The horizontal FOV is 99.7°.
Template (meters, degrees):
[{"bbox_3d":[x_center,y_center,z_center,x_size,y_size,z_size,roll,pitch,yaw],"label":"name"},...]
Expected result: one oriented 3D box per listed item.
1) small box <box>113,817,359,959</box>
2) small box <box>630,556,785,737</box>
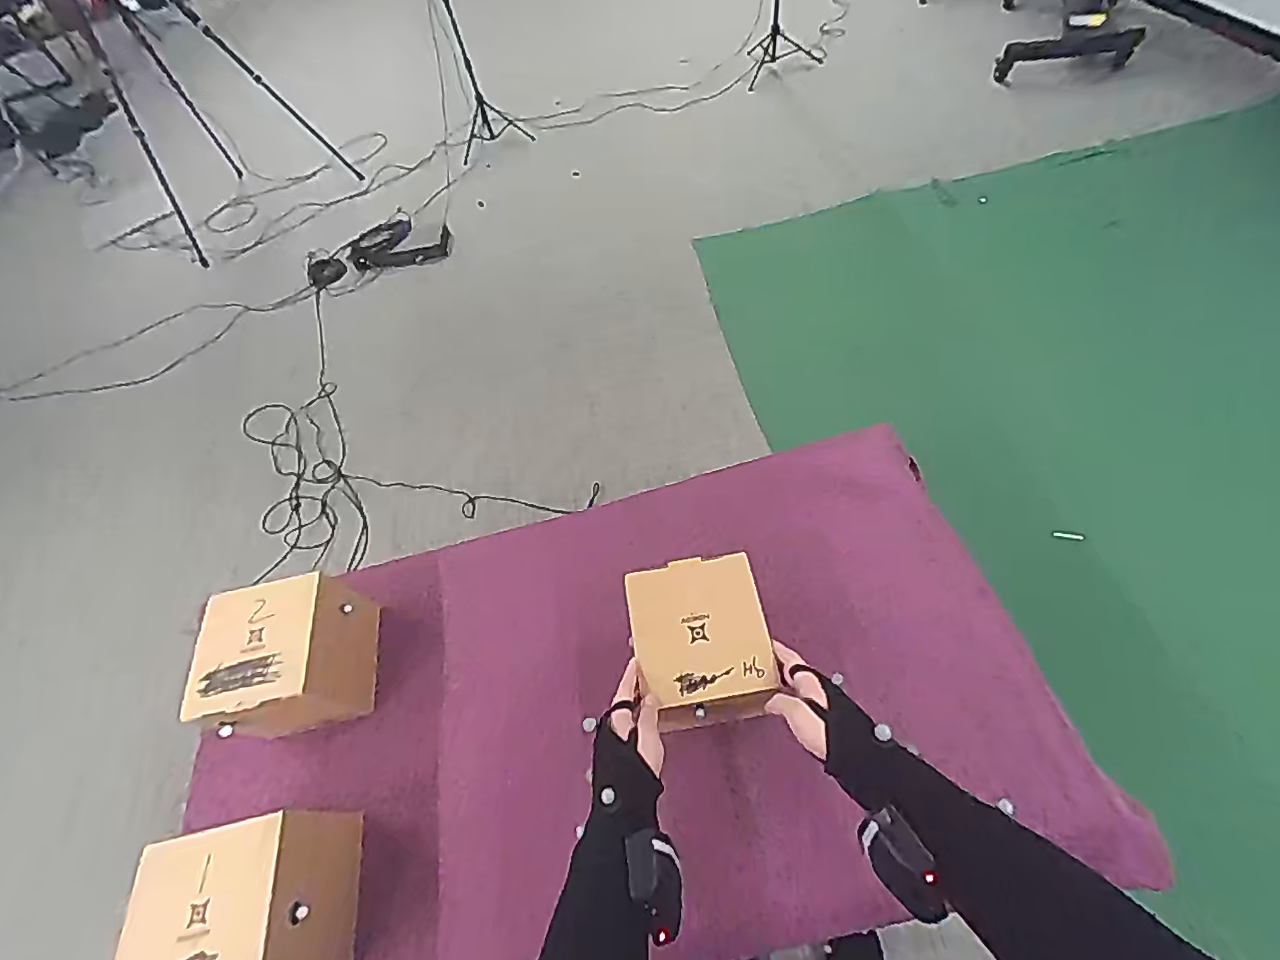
[{"bbox_3d":[-0.453,0.510,0.627,0.168,0.176,0.179,-14,55,-1],"label":"small box"},{"bbox_3d":[0.086,0.228,0.728,0.168,0.176,0.179,-11,55,3],"label":"small box"}]
